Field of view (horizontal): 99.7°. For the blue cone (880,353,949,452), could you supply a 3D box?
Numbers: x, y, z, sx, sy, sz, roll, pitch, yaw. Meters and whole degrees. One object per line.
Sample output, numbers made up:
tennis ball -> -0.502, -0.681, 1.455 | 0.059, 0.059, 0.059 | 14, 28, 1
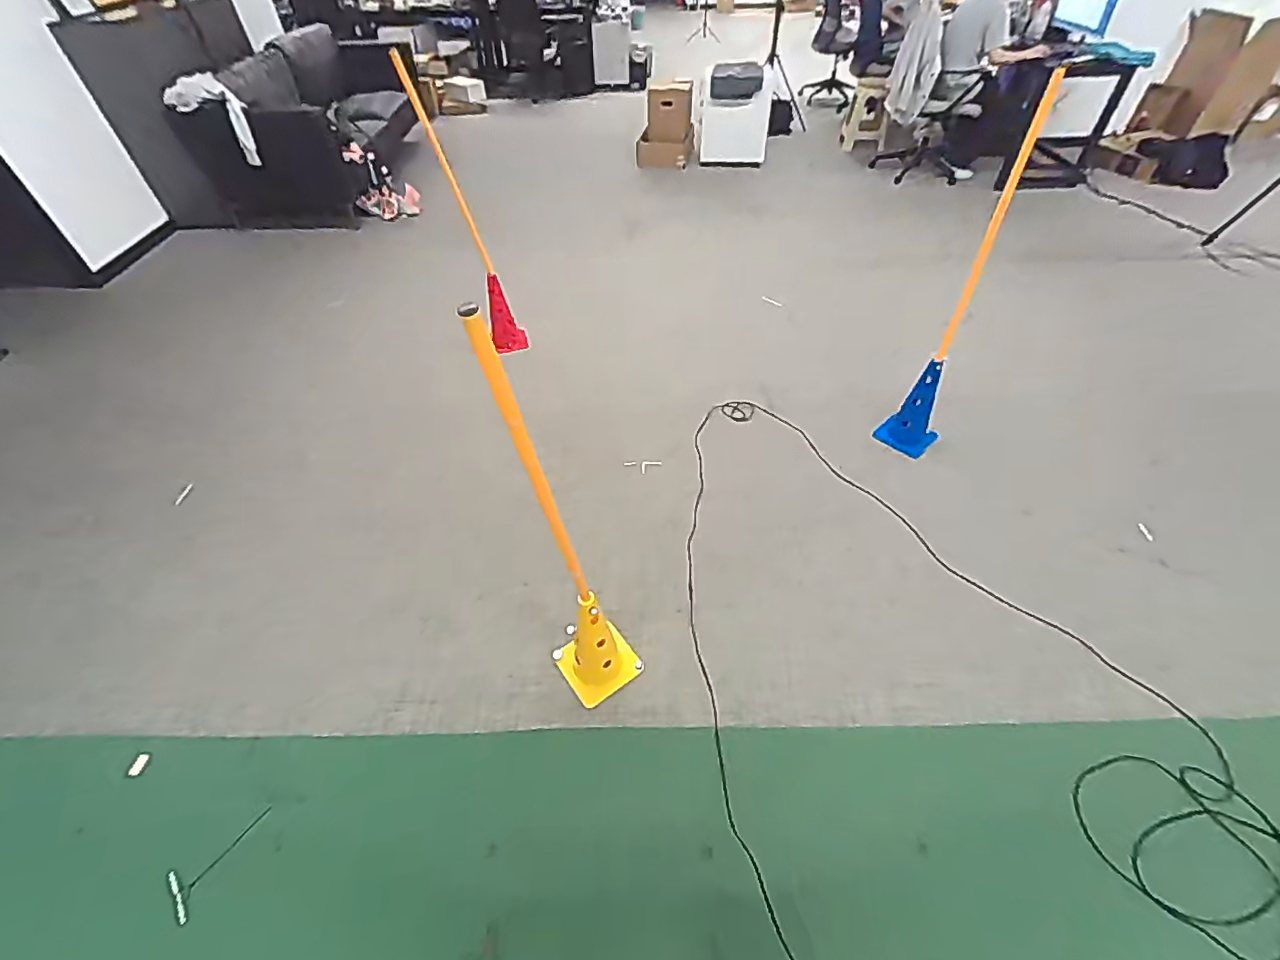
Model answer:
blue cone -> 1.069, -0.310, 2.044 | 0.192, 0.380, 0.193 | 35, 55, 31
